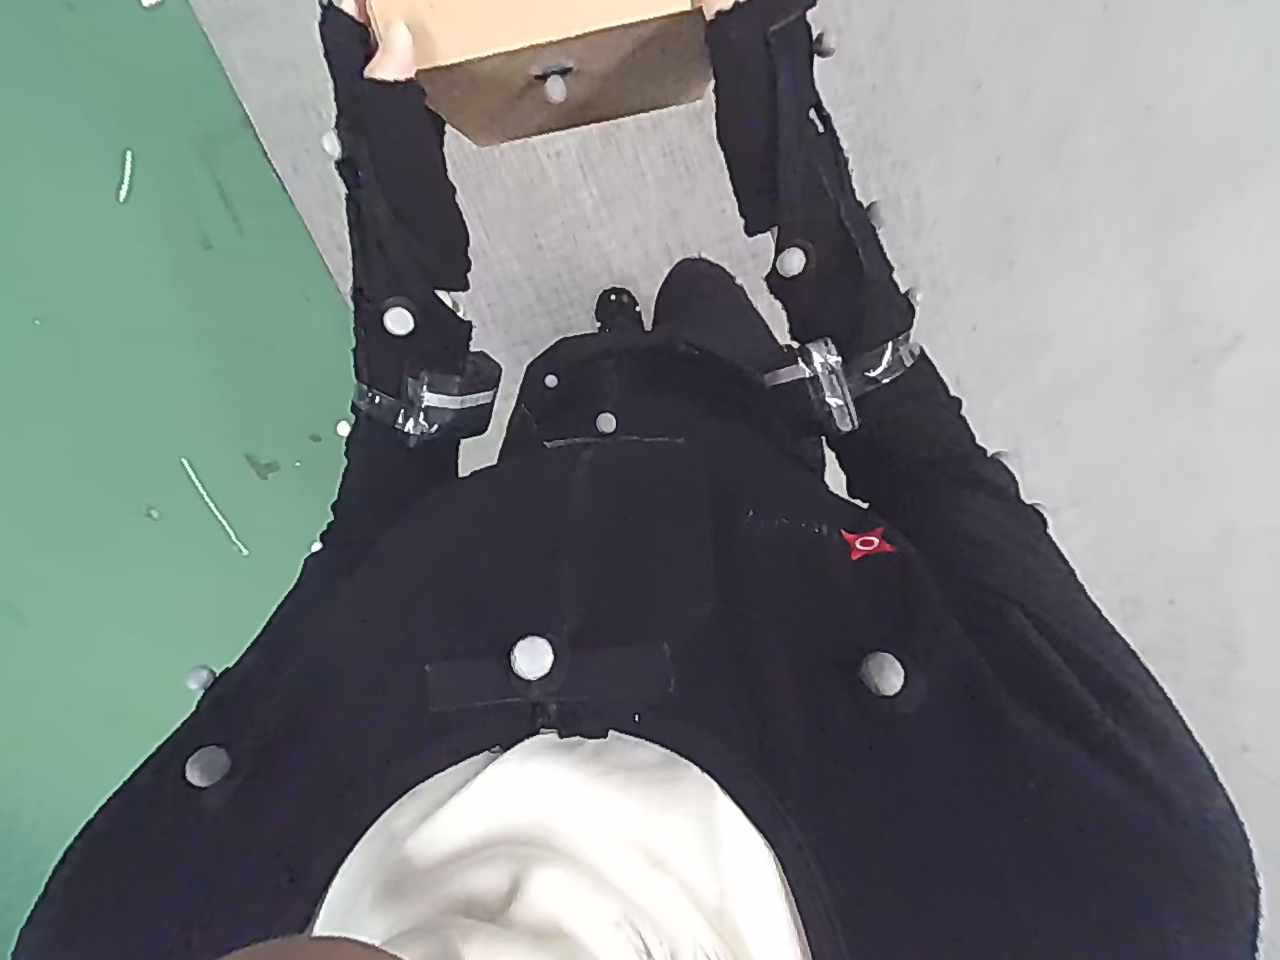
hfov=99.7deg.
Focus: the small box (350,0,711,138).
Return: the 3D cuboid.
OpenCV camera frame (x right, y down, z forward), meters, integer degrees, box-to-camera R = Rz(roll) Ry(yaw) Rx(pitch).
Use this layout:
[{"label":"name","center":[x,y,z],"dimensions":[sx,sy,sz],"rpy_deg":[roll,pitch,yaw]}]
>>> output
[{"label":"small box","center":[-0.058,-0.314,0.301],"dimensions":[0.179,0.176,0.168],"rpy_deg":[-10,111,3]}]
